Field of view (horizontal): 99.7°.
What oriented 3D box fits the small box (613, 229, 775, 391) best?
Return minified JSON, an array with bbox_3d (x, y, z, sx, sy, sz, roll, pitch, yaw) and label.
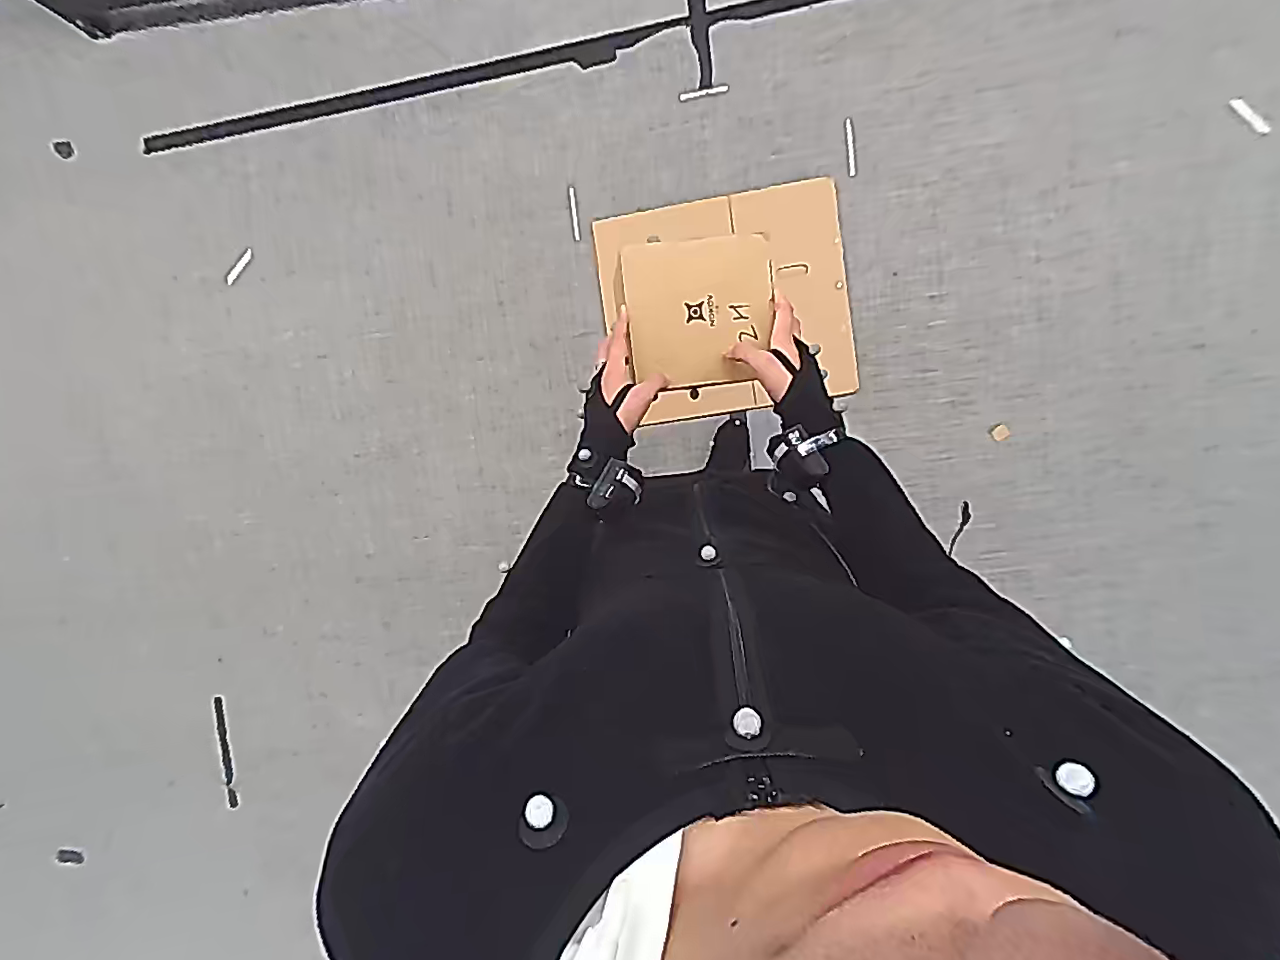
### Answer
[{"bbox_3d":[0.059,-0.207,0.699,0.179,0.176,0.168,-7,99,-5],"label":"small box"}]
